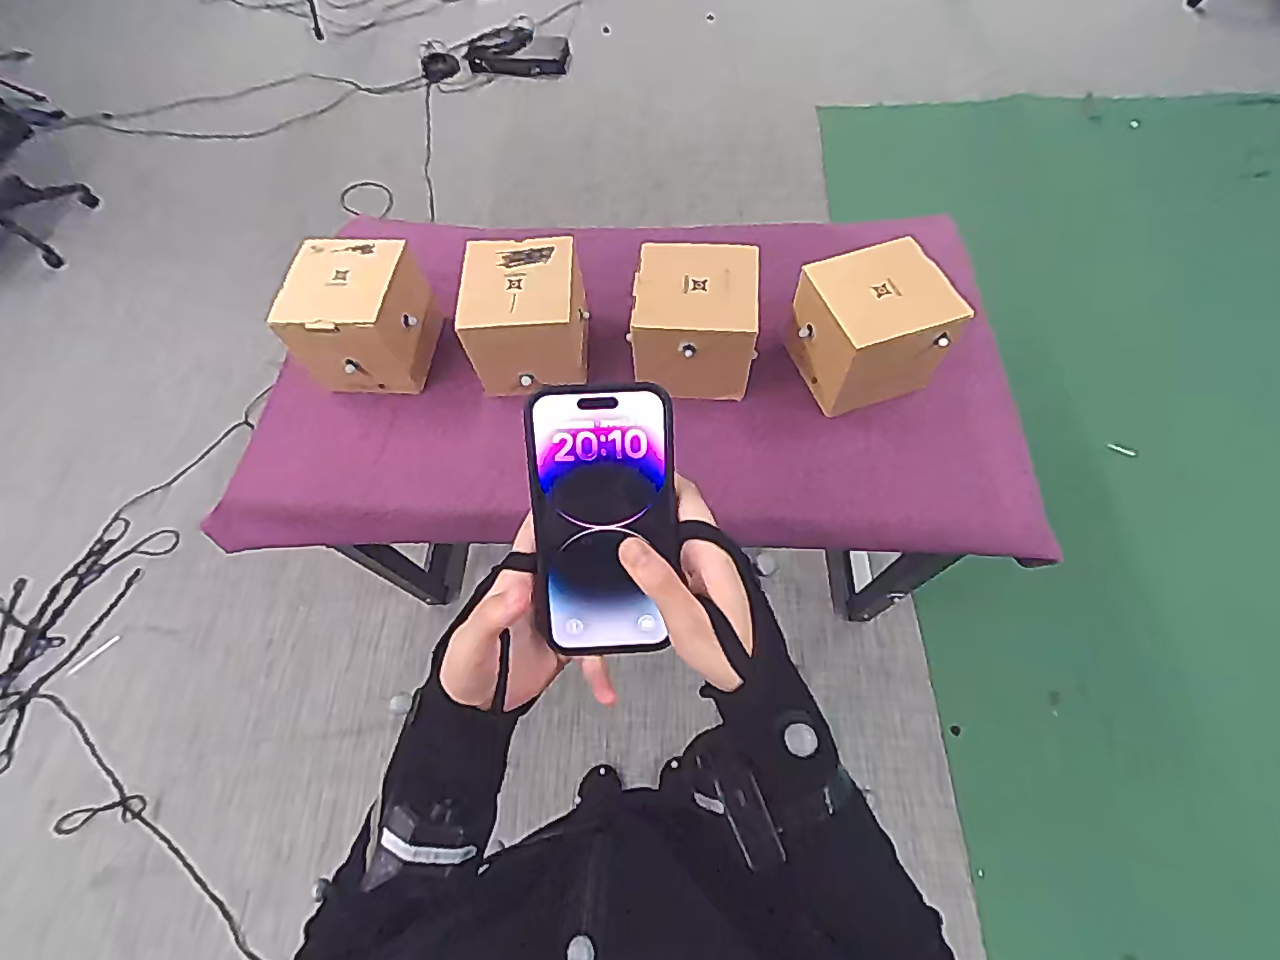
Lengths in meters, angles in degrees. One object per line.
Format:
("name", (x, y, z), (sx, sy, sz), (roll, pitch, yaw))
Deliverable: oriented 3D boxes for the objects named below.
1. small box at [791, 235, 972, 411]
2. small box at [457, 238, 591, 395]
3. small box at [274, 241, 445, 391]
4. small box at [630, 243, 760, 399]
("small box", (0.343, -0.228, 0.816), (0.179, 0.176, 0.168), (-17, 63, -5))
("small box", (-0.172, -0.256, 0.863), (0.168, 0.176, 0.179), (-3, 64, 3))
("small box", (-0.440, -0.261, 0.883), (0.168, 0.176, 0.179), (2, 64, 5))
("small box", (0.086, -0.241, 0.840), (0.179, 0.176, 0.168), (4, 64, 6))
